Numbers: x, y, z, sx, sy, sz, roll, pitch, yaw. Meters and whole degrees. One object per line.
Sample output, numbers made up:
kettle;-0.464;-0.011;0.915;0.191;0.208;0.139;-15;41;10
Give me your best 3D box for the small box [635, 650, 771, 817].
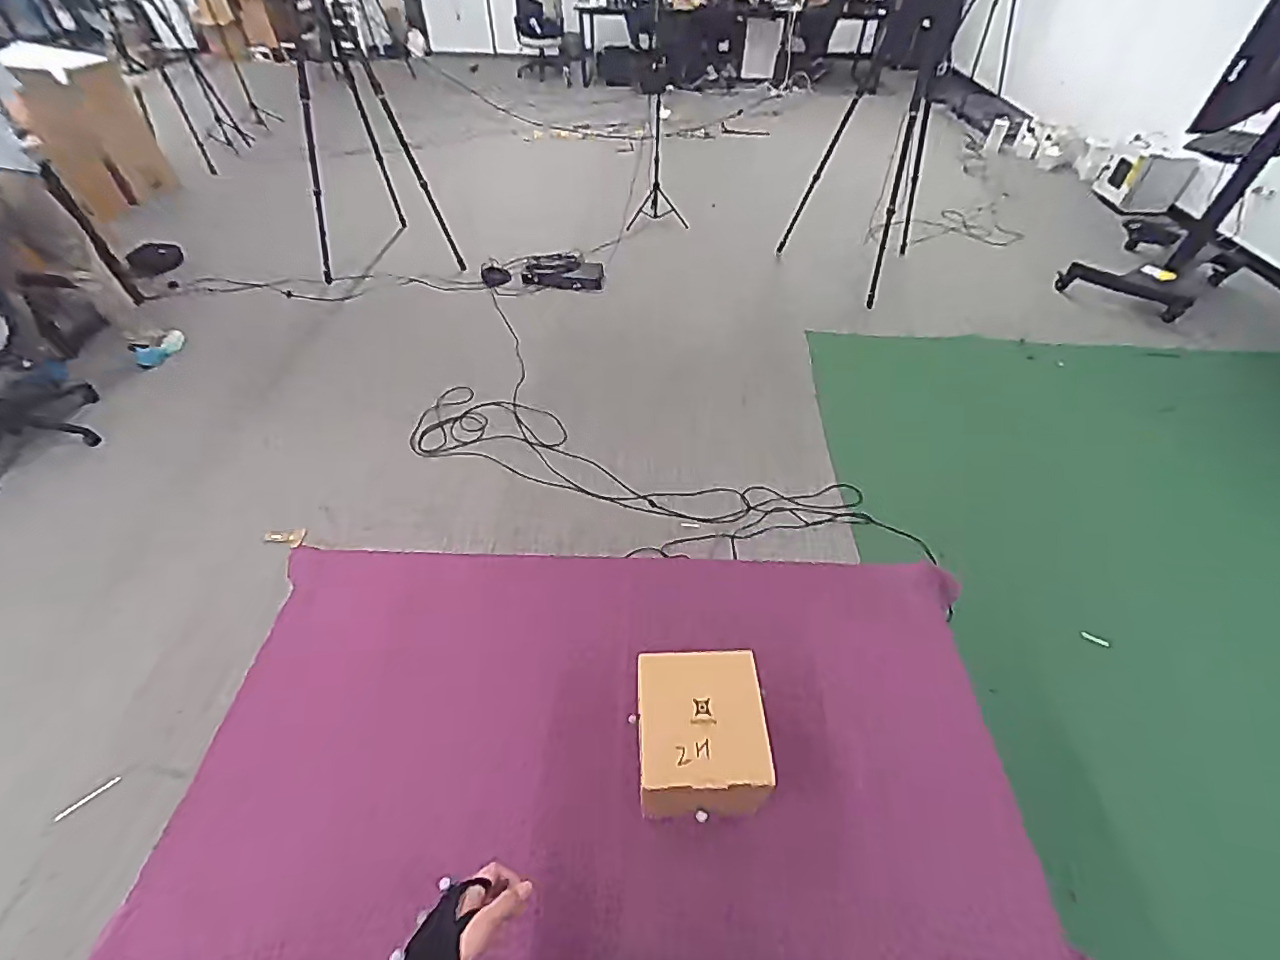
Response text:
small box;0.077;0.361;0.770;0.168;0.176;0.179;-1;48;-1
